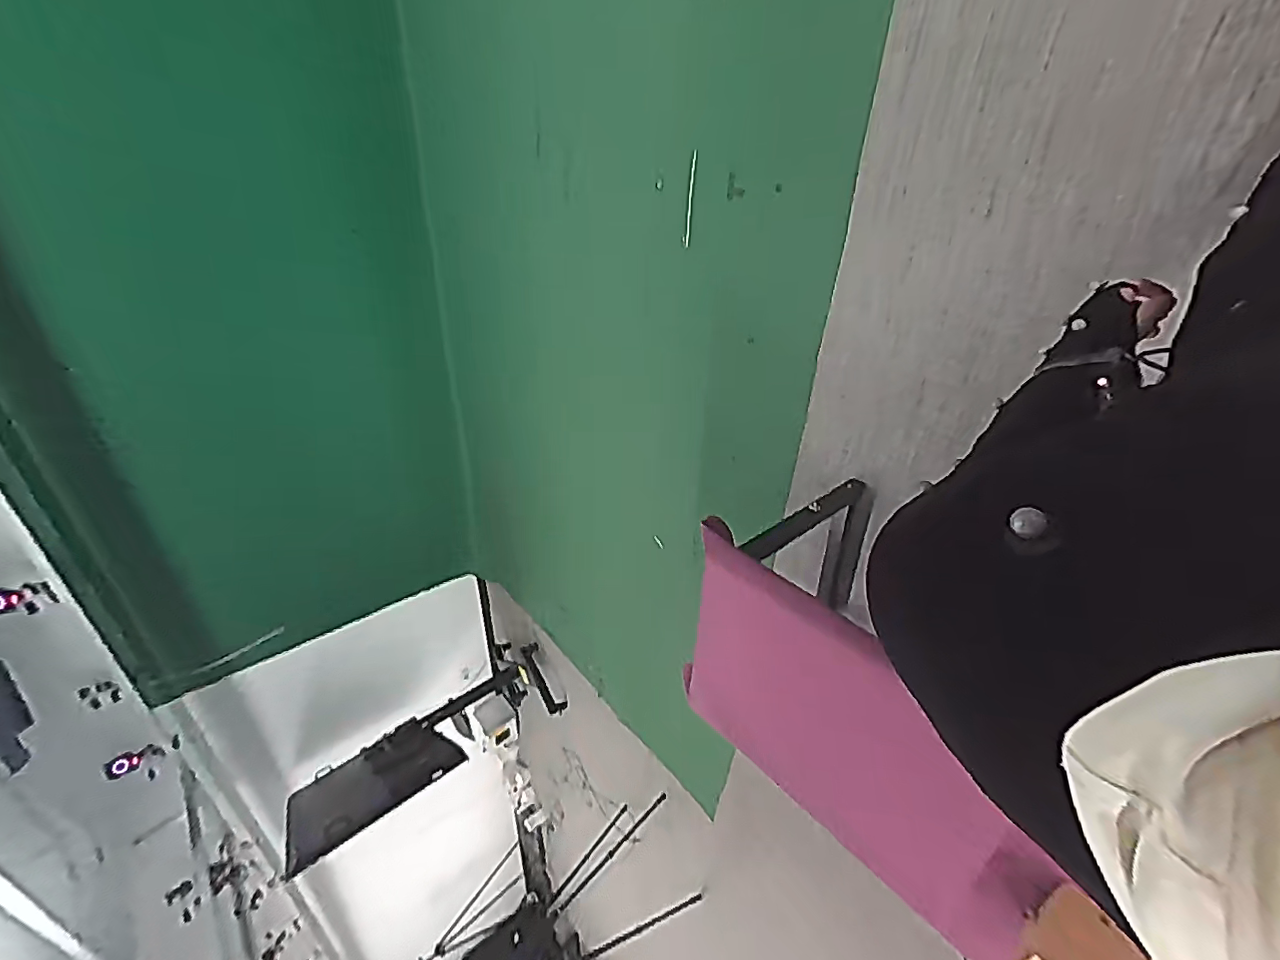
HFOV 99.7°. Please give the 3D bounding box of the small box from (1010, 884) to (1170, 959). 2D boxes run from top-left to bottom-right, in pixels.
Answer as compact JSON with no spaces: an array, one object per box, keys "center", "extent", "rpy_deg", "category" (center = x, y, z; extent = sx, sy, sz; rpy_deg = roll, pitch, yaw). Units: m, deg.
[{"center":[0.733,0.829,0.890],"extent":[0.168,0.176,0.179],"rpy_deg":[32,131,40],"category":"small box"}]
